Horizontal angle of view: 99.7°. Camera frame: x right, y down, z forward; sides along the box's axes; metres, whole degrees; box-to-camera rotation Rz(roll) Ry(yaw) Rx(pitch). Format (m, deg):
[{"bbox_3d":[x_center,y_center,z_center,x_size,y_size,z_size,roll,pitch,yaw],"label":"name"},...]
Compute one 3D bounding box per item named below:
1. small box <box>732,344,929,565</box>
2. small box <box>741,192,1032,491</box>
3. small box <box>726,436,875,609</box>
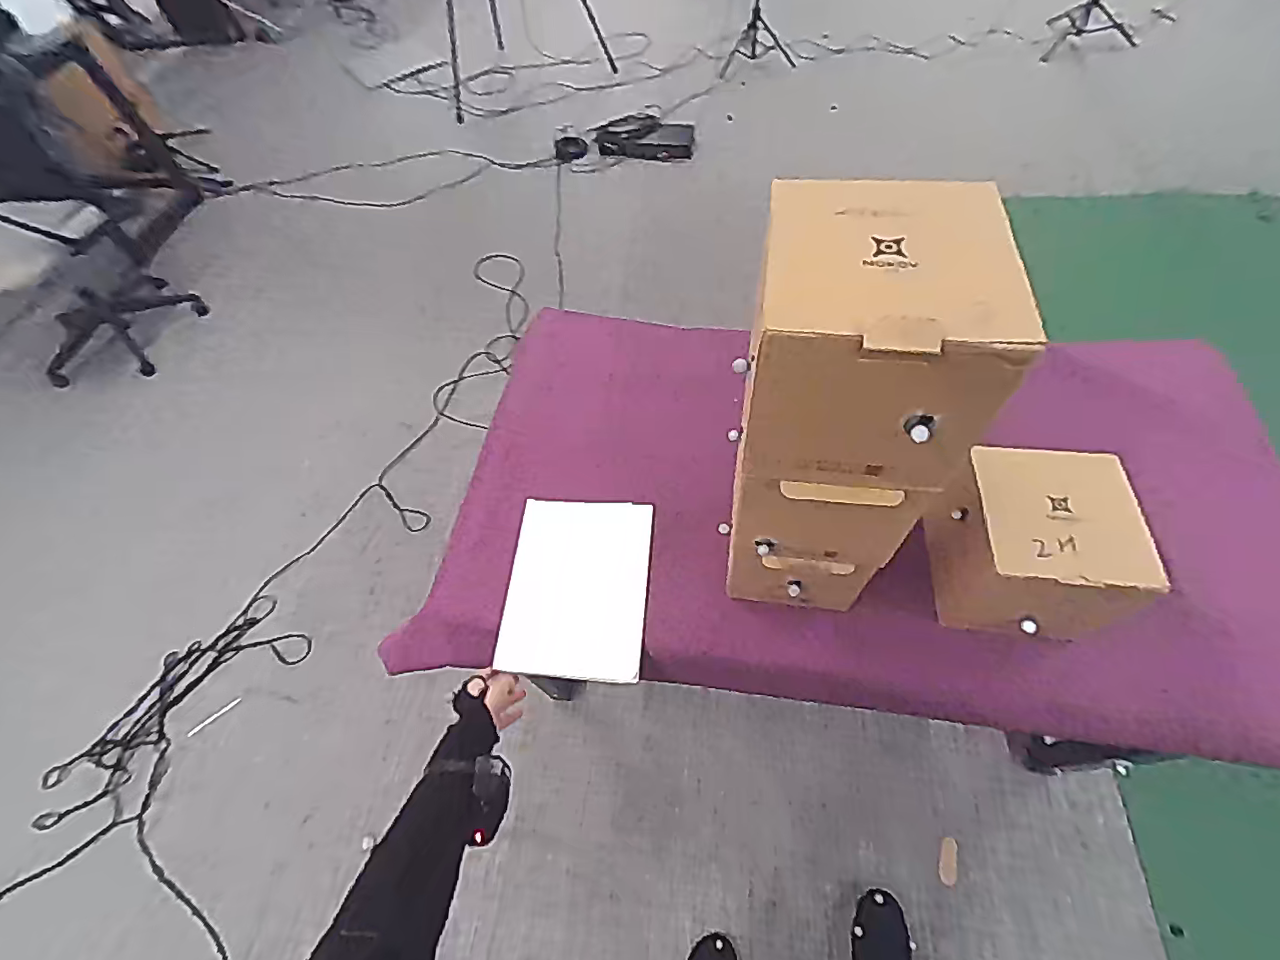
[{"bbox_3d":[0.190,-0.024,0.584,0.168,0.176,0.179,5,57,9],"label":"small box"},{"bbox_3d":[0.176,-0.108,0.445,0.168,0.176,0.179,6,57,9],"label":"small box"},{"bbox_3d":[0.205,0.060,0.725,0.168,0.176,0.179,5,59,9],"label":"small box"}]
